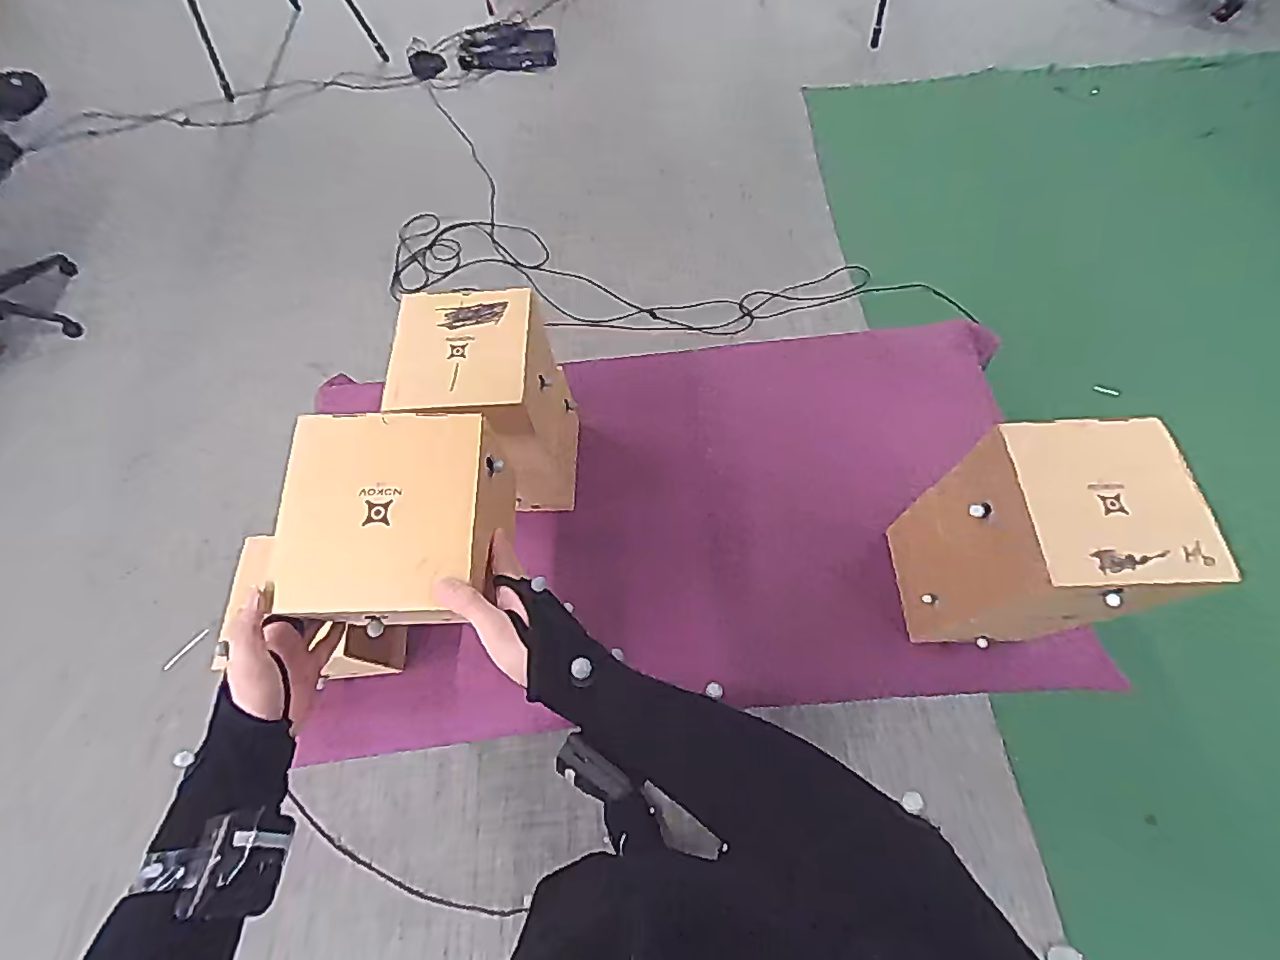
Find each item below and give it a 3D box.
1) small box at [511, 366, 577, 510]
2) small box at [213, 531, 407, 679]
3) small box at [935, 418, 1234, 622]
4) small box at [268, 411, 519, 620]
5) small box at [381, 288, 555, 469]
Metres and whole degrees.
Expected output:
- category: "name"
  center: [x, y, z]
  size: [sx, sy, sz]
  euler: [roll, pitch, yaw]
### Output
- category: "small box"
  center: [-0.197, -0.063, 0.869]
  size: [0.168, 0.176, 0.179]
  euler: [-1, 66, 3]
- category: "small box"
  center: [-0.445, 0.178, 0.770]
  size: [0.168, 0.176, 0.179]
  euler: [-5, 64, 1]
- category: "small box"
  center: [0.454, 0.050, 0.595]
  size: [0.168, 0.176, 0.179]
  euler: [-2, 64, 4]
- category: "small box"
  center: [-0.219, 0.046, 0.534]
  size: [0.168, 0.176, 0.179]
  euler: [-1, 71, -2]
- category: "small box"
  center: [-0.211, -0.127, 0.718]
  size: [0.168, 0.176, 0.179]
  euler: [-2, 66, 2]
